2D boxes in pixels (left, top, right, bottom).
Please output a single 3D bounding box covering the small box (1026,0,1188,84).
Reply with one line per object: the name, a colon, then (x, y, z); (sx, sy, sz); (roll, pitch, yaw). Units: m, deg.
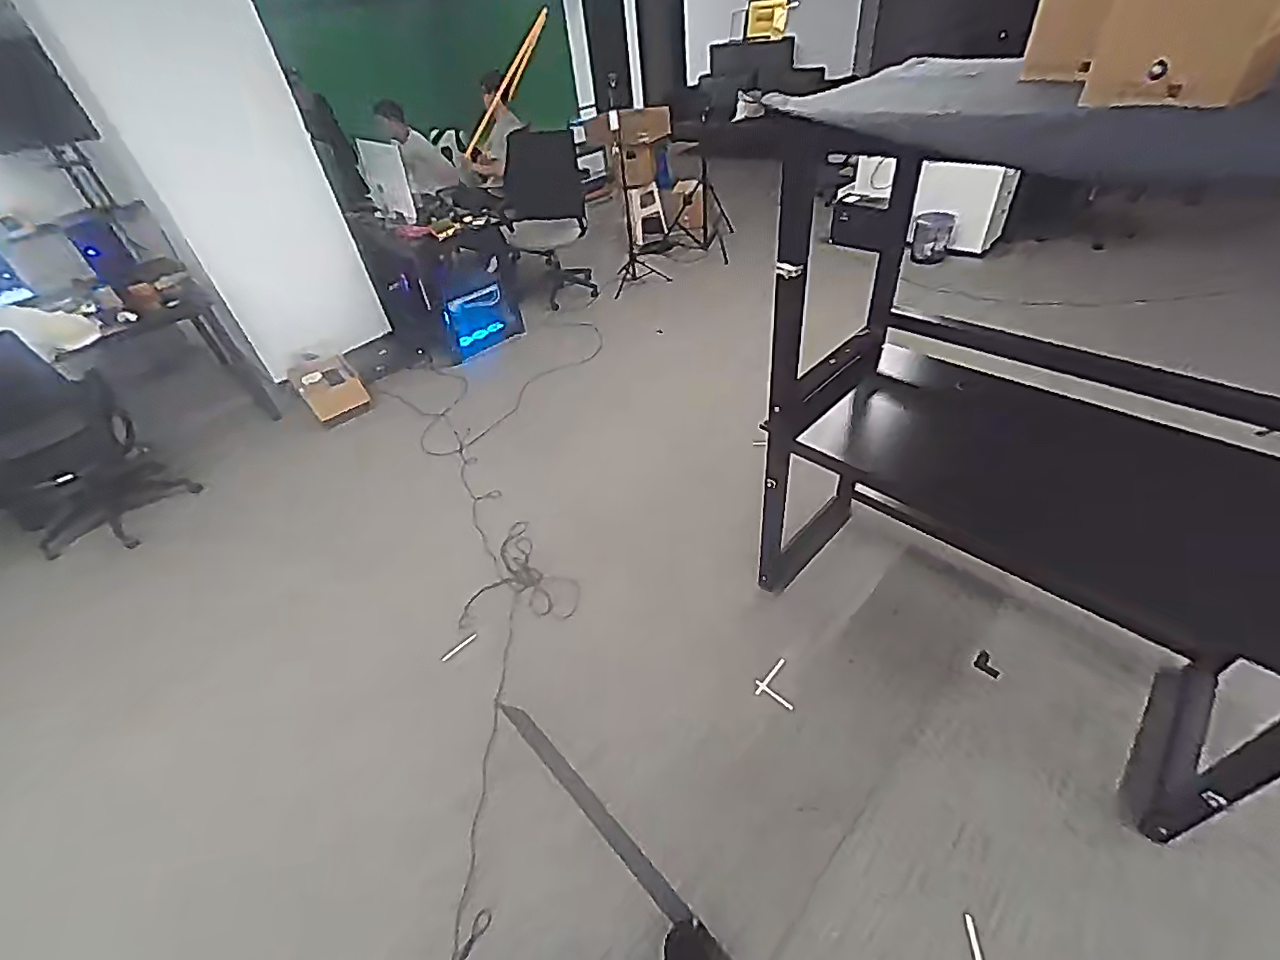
small box: (0.810, -0.800, 0.931); (0.179, 0.176, 0.168); (-32, 46, -25)
